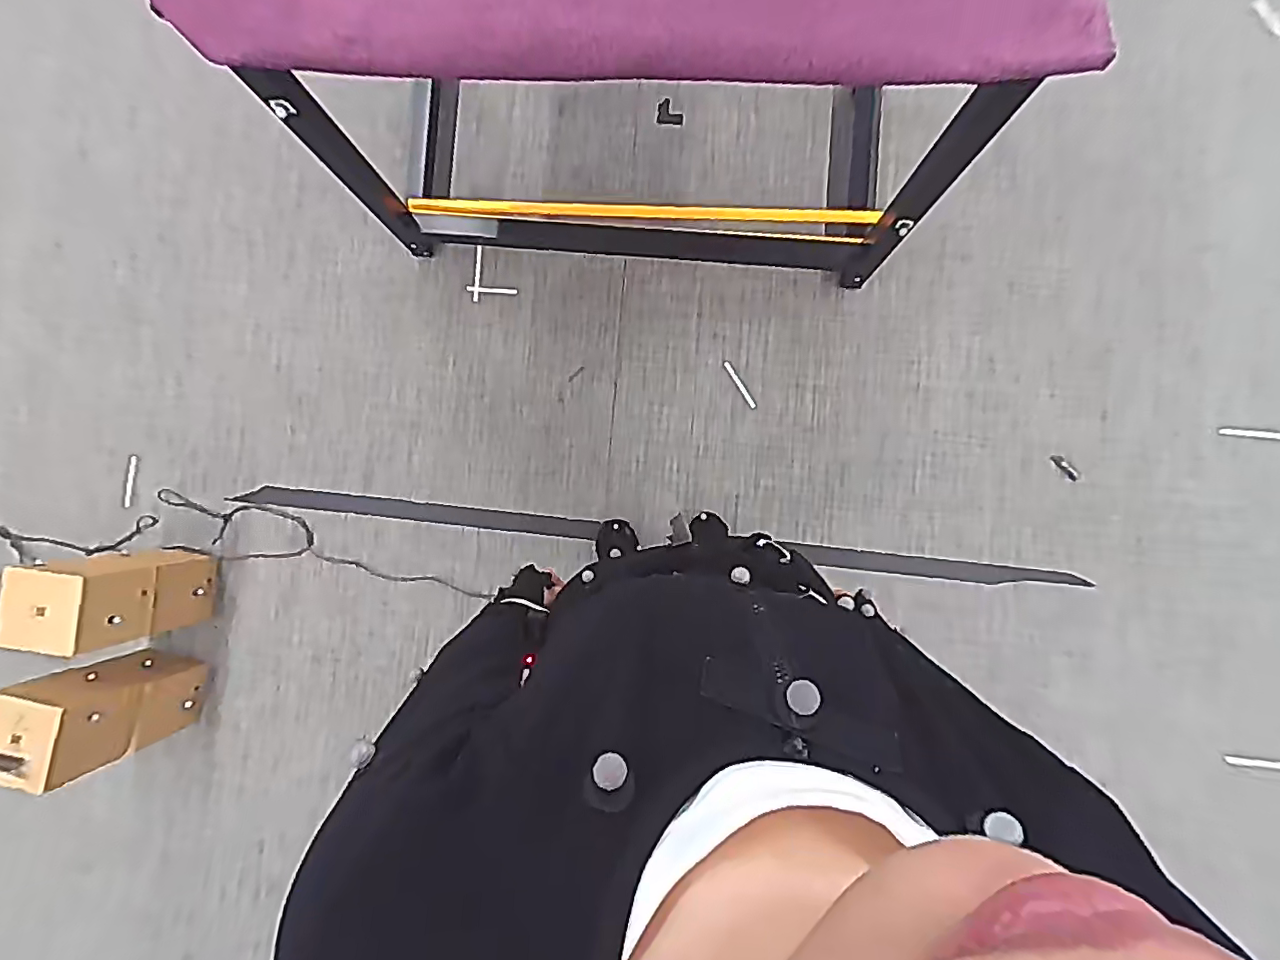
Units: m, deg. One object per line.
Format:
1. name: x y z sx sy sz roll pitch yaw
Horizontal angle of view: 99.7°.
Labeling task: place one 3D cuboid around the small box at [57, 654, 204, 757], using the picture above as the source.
1. small box: -1.219 0.533 1.304 0.179 0.176 0.168 12 88 1

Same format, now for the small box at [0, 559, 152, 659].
1. small box: -1.202 0.266 1.152 0.179 0.176 0.168 6 89 3

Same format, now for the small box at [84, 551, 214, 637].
1. small box: -1.197 0.269 1.314 0.179 0.176 0.168 7 89 1
